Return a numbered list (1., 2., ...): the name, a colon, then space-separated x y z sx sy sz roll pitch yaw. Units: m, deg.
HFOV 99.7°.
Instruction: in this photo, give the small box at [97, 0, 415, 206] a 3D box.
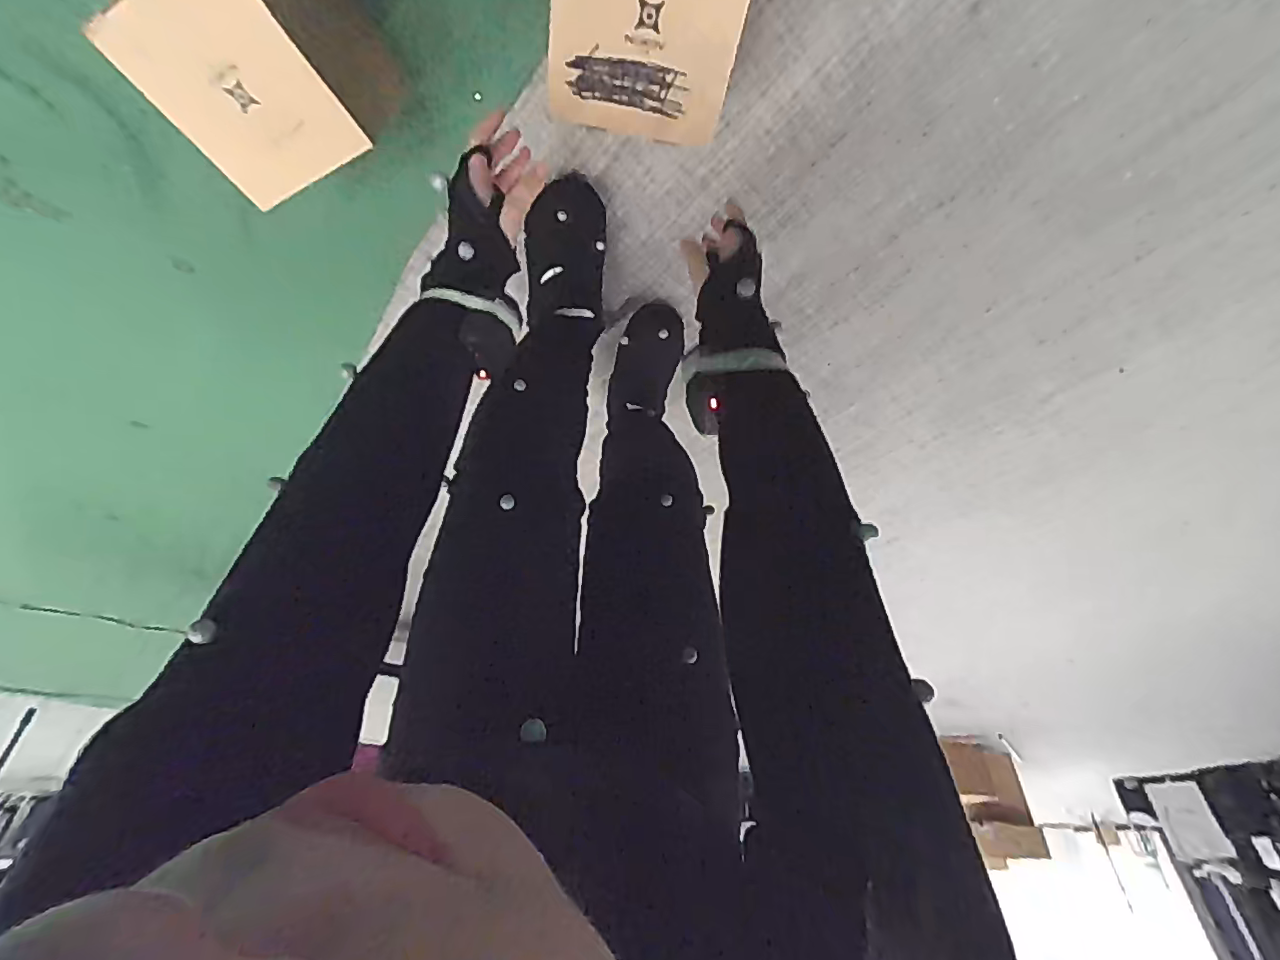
1. small box: -0.369 -0.432 0.558 0.168 0.176 0.179 -15 140 19
